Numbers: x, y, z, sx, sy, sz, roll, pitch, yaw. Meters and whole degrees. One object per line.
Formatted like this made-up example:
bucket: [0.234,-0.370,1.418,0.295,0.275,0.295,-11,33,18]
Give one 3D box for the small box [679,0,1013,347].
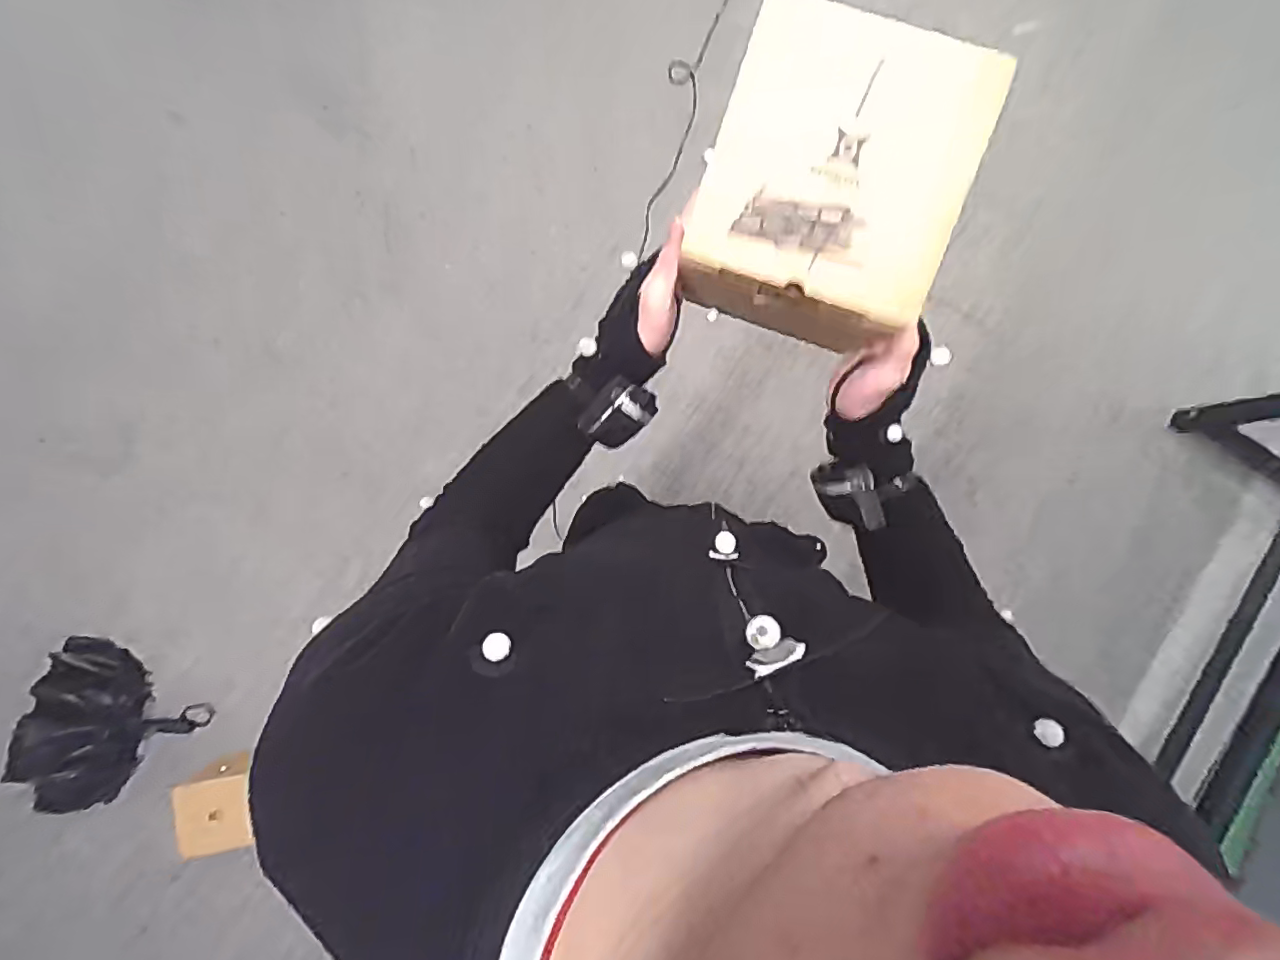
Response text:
small box: [0.138,-0.220,0.432,0.168,0.176,0.179,20,97,2]
